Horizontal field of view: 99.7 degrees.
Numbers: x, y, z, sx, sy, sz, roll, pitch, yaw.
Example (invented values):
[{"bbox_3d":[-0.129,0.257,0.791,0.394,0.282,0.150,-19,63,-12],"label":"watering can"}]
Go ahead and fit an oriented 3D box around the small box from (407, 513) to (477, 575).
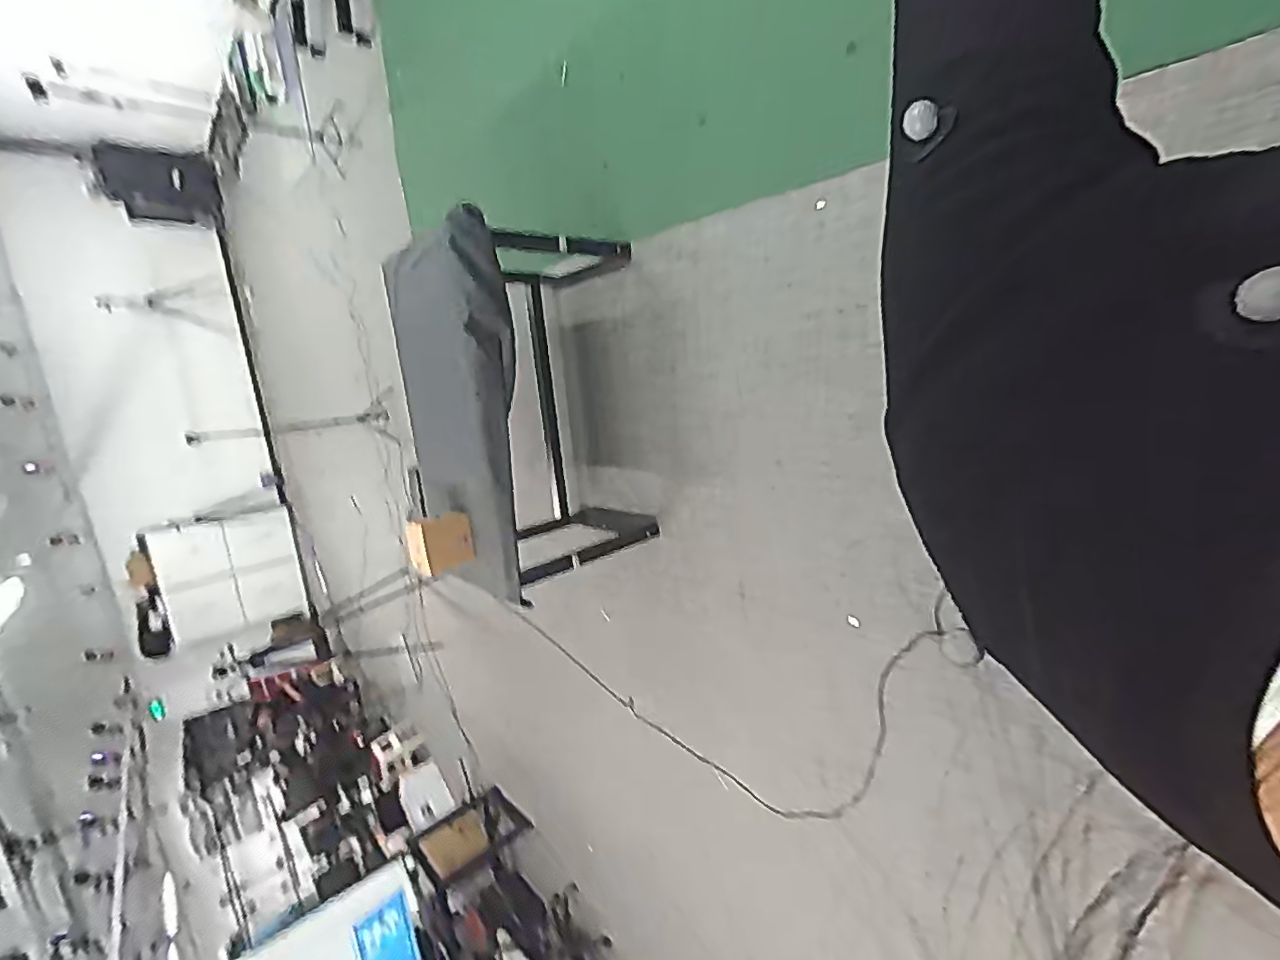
[{"bbox_3d":[-0.702,0.221,1.921,0.168,0.176,0.179,2,102,48],"label":"small box"}]
